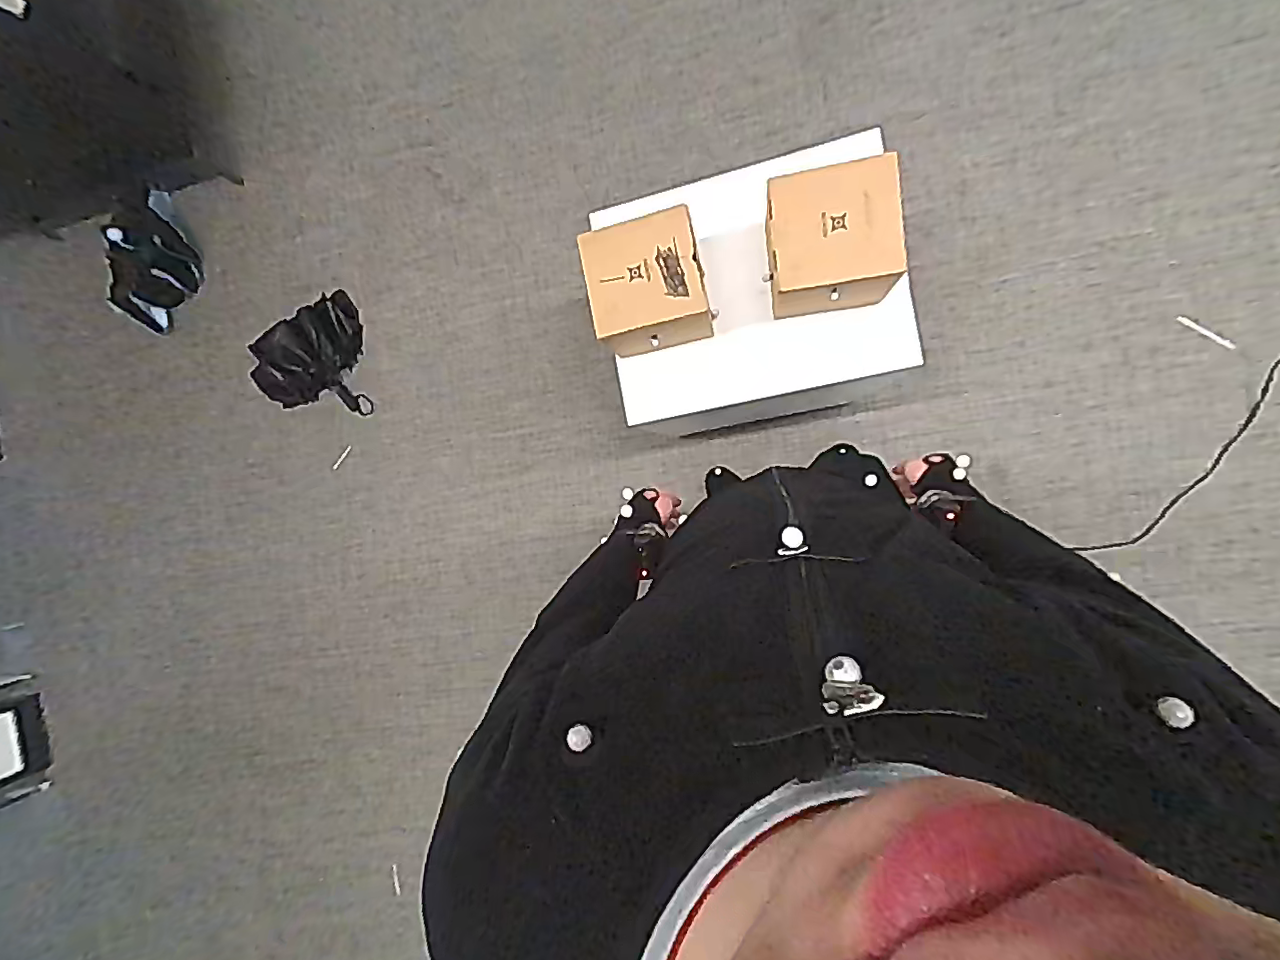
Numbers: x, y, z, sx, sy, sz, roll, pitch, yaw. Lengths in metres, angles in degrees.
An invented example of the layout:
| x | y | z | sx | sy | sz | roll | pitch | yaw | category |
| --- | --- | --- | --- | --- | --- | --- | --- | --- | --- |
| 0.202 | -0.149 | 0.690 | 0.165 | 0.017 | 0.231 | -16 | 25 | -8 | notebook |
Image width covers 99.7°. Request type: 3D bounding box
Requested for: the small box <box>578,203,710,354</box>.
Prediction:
| x | y | z | sx | sy | sz | roll | pitch | yaw | category |
| --- | --- | --- | --- | --- | --- | --- | --- | --- | --- |
| 0.017 | -0.318 | 0.891 | 0.179 | 0.176 | 0.168 | -11 | 90 | 12 | small box |

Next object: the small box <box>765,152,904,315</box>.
| x | y | z | sx | sy | sz | roll | pitch | yaw | category |
| --- | --- | --- | --- | --- | --- | --- | --- | --- | --- |
| 0.288 | -0.364 | 0.835 | 0.179 | 0.176 | 0.168 | -5 | 93 | 12 | small box |
